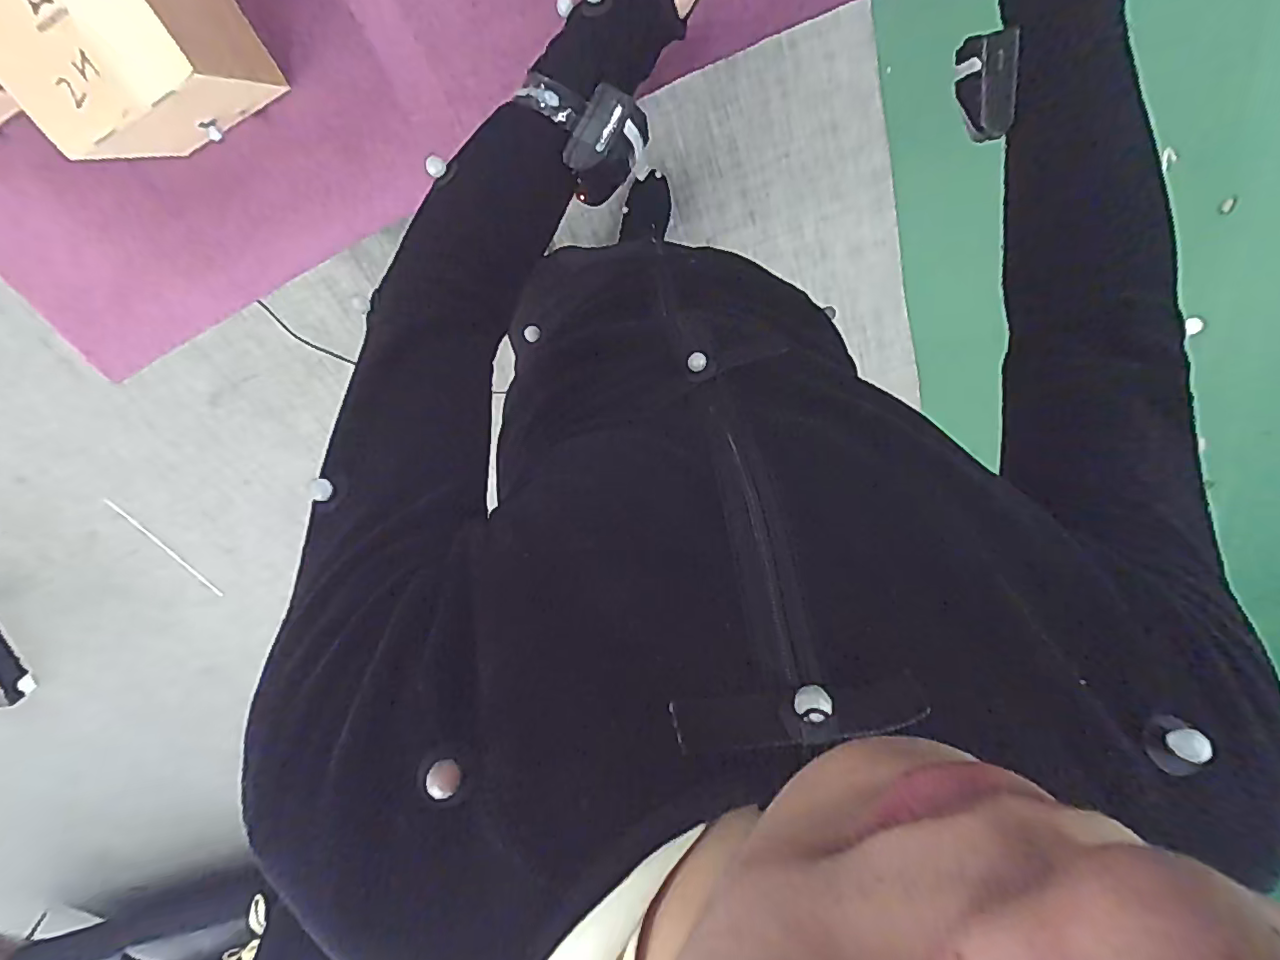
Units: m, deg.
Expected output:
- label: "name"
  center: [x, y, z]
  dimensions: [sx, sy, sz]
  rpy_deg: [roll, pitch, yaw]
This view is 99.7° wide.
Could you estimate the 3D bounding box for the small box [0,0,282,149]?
- label: "small box"
  center: [-0.506, -0.447, 0.522]
  dimensions: [0.168, 0.176, 0.179]
  rpy_deg: [-21, 122, 11]
